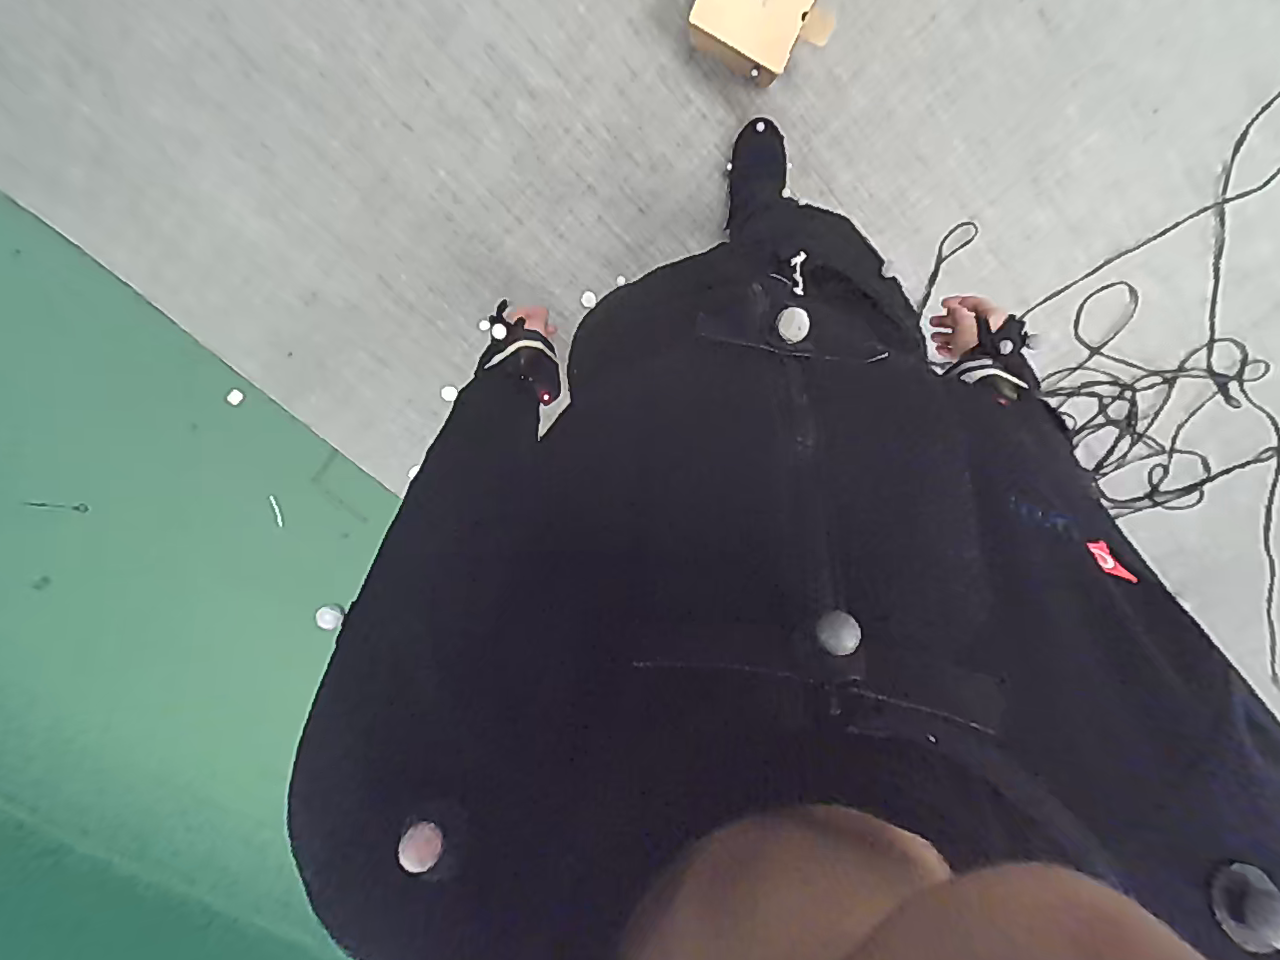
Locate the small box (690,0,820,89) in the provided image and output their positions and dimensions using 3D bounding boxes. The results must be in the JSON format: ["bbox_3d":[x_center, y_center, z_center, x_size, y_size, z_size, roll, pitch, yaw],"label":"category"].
[{"bbox_3d":[0.197,-0.801,0.920,0.179,0.176,0.168,23,119,-9],"label":"small box"}]
